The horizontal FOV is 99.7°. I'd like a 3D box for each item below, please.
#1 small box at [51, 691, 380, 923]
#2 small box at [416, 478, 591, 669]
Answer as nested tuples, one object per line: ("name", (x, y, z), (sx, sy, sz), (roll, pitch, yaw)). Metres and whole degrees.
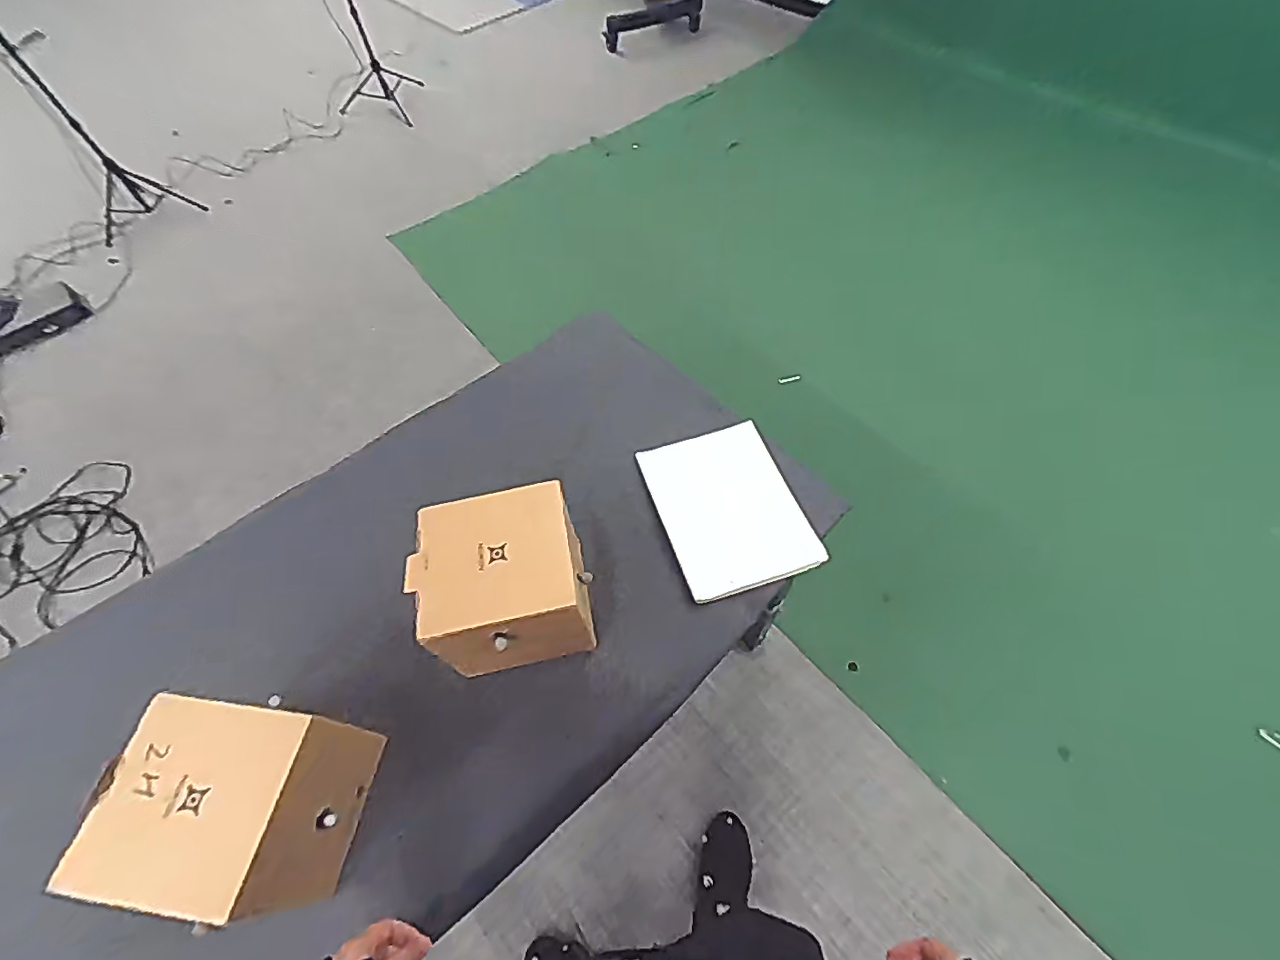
("small box", (-0.411, 0.332, 0.567), (0.179, 0.176, 0.168), (5, 59, 7))
("small box", (-0.162, 0.123, 0.679), (0.179, 0.176, 0.168), (-12, 59, -3))
